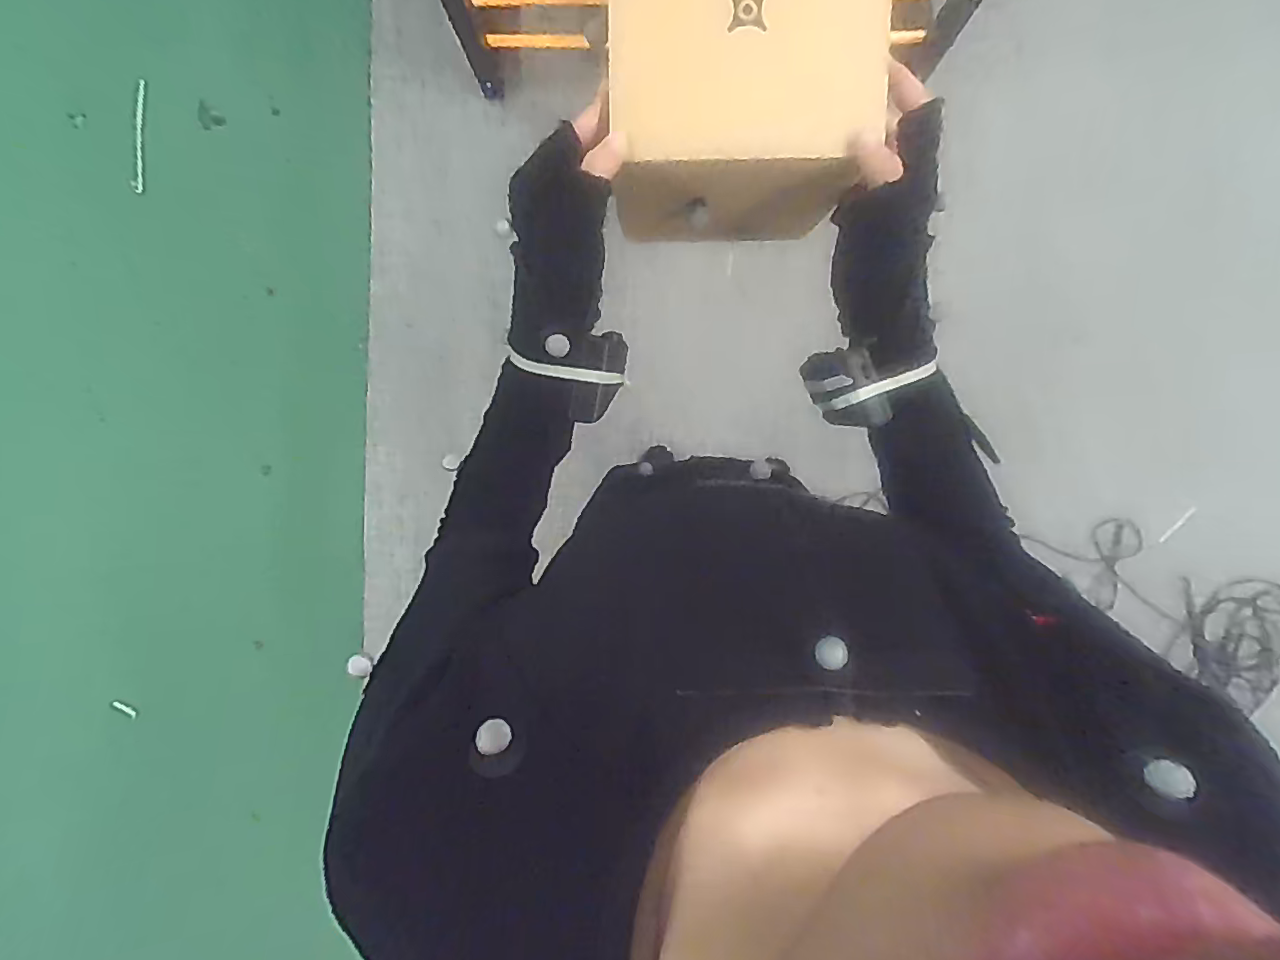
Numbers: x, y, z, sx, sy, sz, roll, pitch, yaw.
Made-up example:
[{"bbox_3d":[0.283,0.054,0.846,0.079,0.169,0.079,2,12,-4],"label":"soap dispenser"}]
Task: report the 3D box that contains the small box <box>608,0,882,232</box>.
[{"bbox_3d":[0.065,-0.296,0.403,0.168,0.176,0.179,-1,97,2],"label":"small box"}]
